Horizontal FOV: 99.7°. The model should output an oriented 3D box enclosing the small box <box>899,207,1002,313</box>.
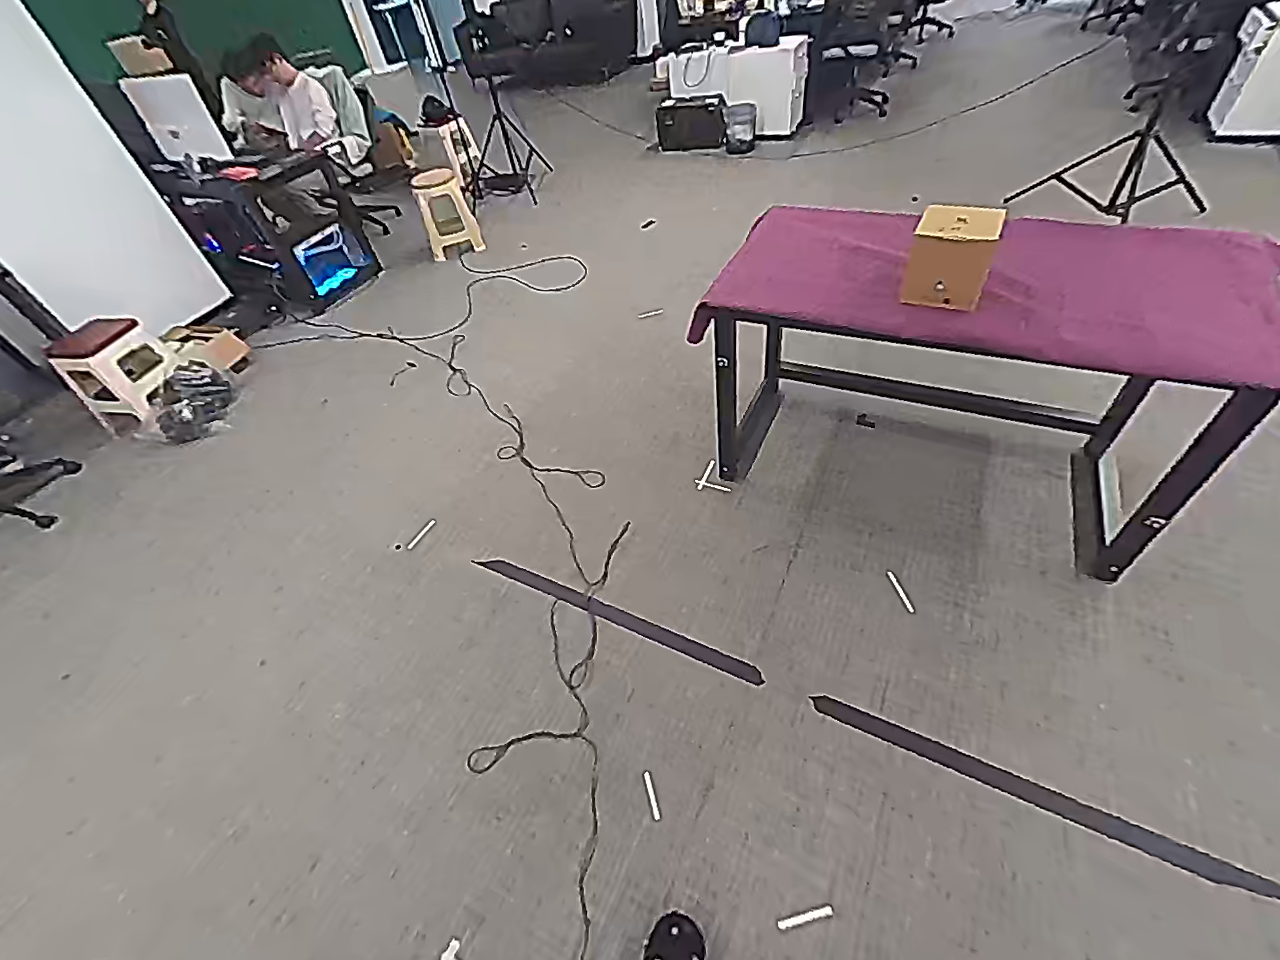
[{"bbox_3d":[0.730,-0.522,1.281,0.168,0.176,0.179,17,52,25],"label":"small box"}]
